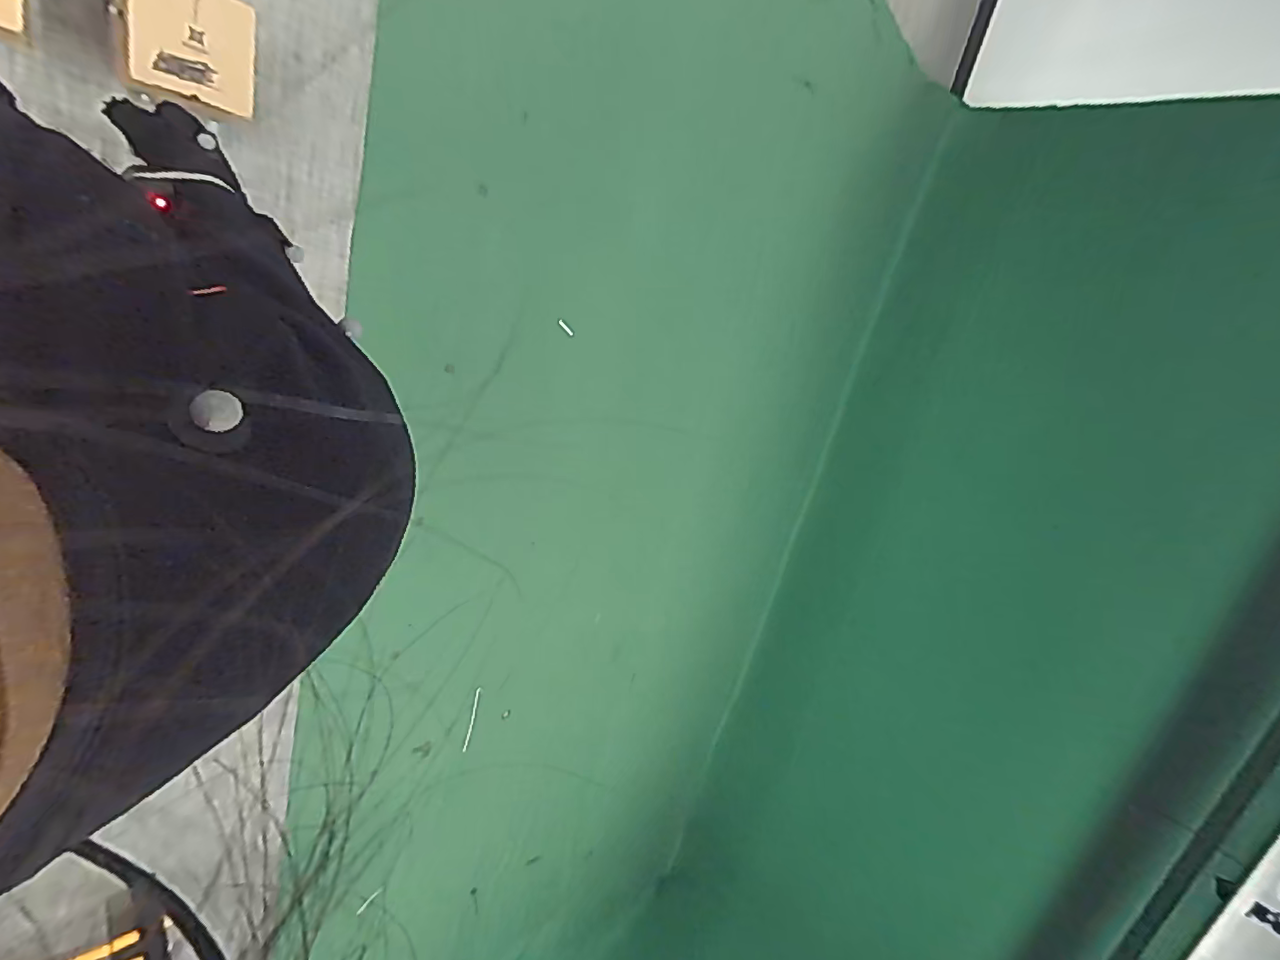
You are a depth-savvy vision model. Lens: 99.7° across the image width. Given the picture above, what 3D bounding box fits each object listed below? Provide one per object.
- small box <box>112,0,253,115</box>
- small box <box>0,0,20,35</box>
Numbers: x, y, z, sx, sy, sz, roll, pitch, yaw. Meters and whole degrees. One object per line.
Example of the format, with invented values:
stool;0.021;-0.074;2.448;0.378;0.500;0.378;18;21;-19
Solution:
small box;-0.793;-0.763;0.938;0.168;0.176;0.179;-4;115;-48
small box;-0.972;-0.758;0.737;0.168;0.176;0.179;0;112;-49
